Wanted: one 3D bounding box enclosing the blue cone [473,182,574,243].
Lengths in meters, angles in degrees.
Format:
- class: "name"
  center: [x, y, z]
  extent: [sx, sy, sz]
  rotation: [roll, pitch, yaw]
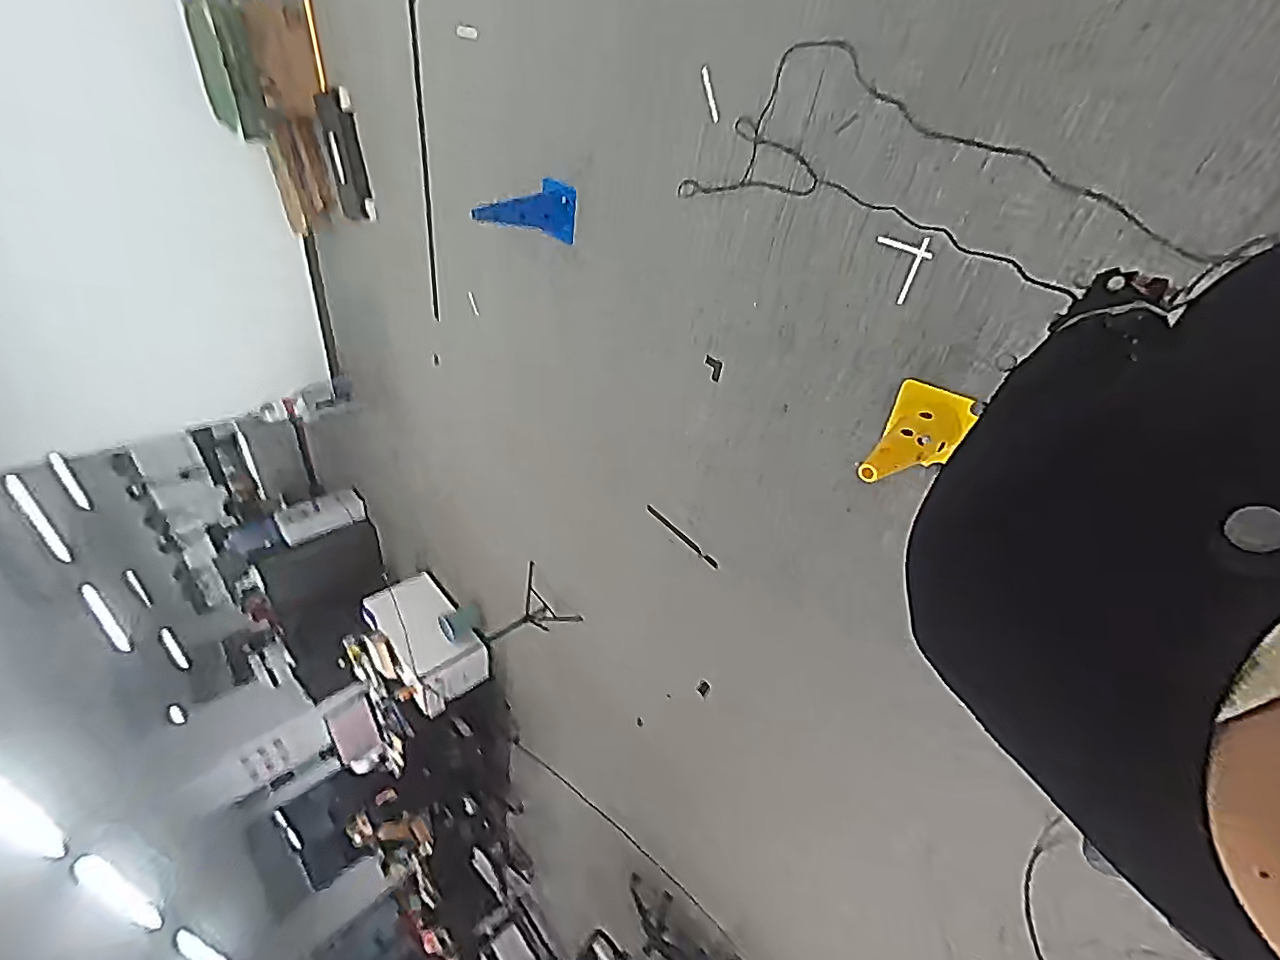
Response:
- class: "blue cone"
  center: [-0.431, -0.965, 1.965]
  extent: [0.193, 0.380, 0.192]
  rotation: [39, 136, 30]
